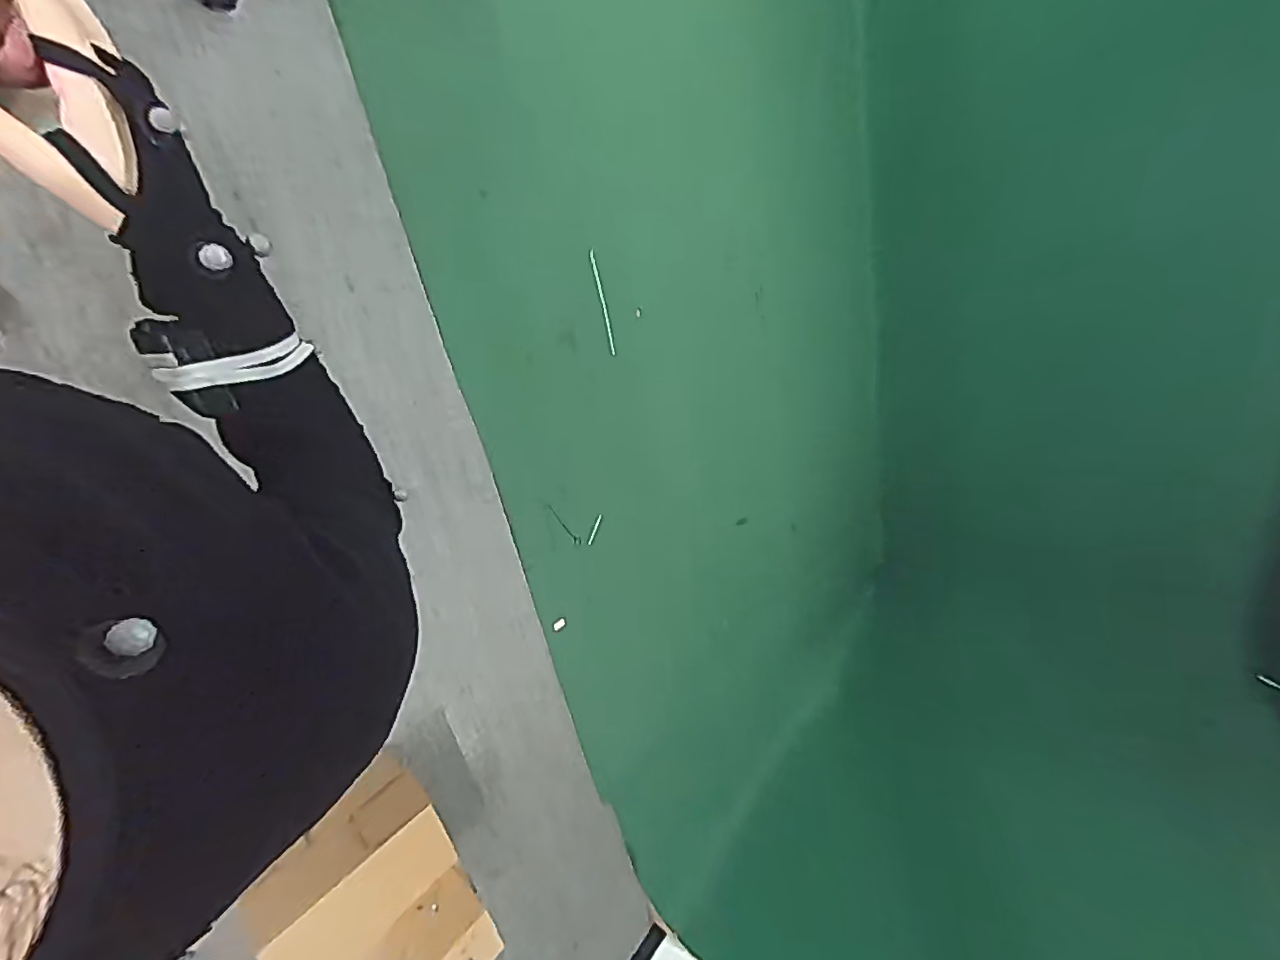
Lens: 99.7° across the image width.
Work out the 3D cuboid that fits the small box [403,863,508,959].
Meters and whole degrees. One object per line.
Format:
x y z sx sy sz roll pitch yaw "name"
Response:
-0.469 1.132 1.375 0.168 0.176 0.179 -33 123 -41 "small box"
